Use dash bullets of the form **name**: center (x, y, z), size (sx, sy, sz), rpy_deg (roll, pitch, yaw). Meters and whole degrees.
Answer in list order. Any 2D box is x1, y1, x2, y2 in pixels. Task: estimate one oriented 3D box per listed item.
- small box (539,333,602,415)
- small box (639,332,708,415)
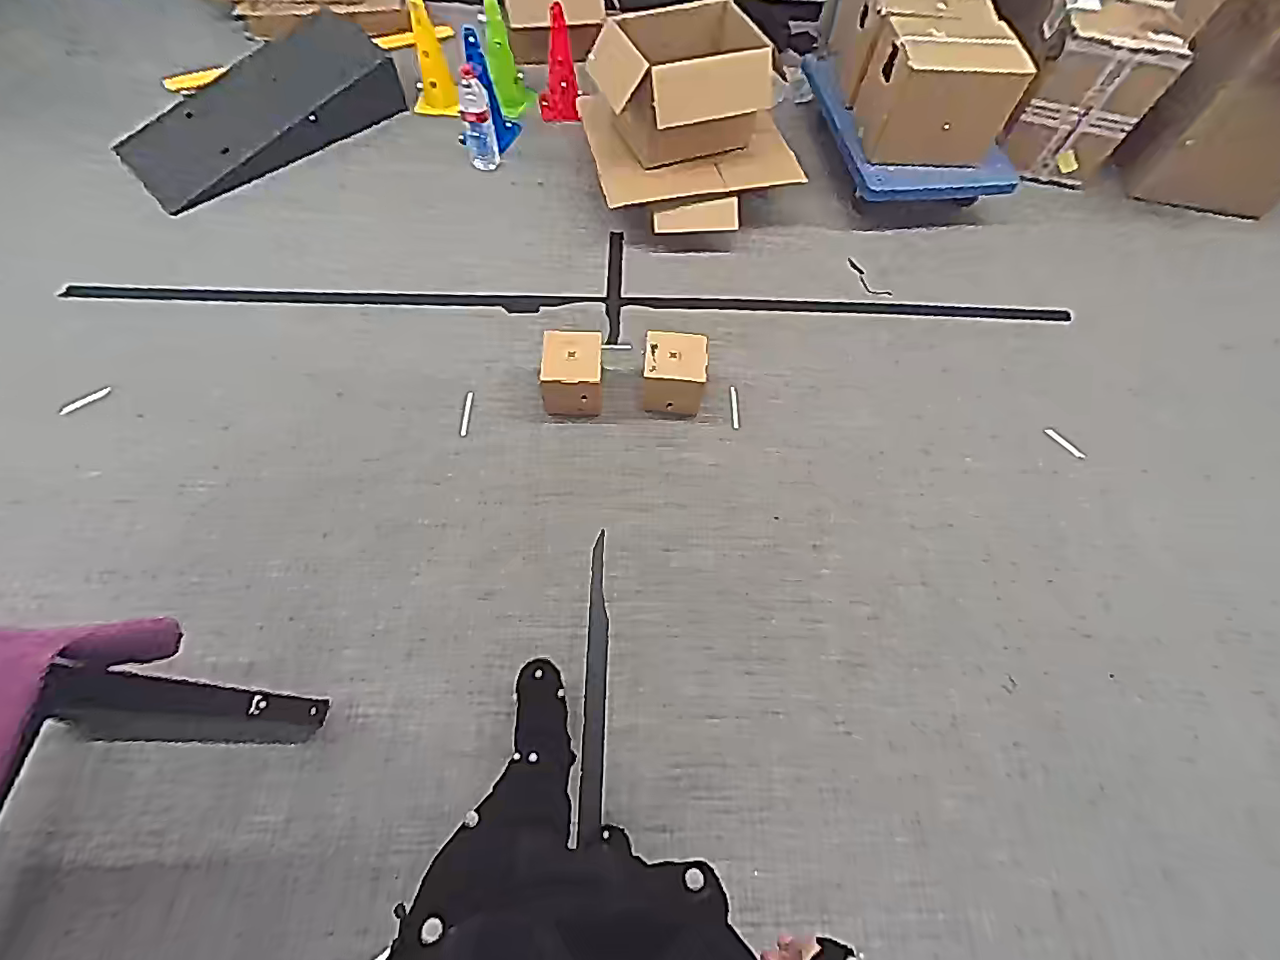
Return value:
- **small box**: center (-0.196, -0.302, 1.568), size (0.168, 0.176, 0.179), rpy_deg (1, 63, -4)
- **small box**: center (0.095, -0.307, 1.588), size (0.179, 0.176, 0.168), rpy_deg (6, 64, -2)
